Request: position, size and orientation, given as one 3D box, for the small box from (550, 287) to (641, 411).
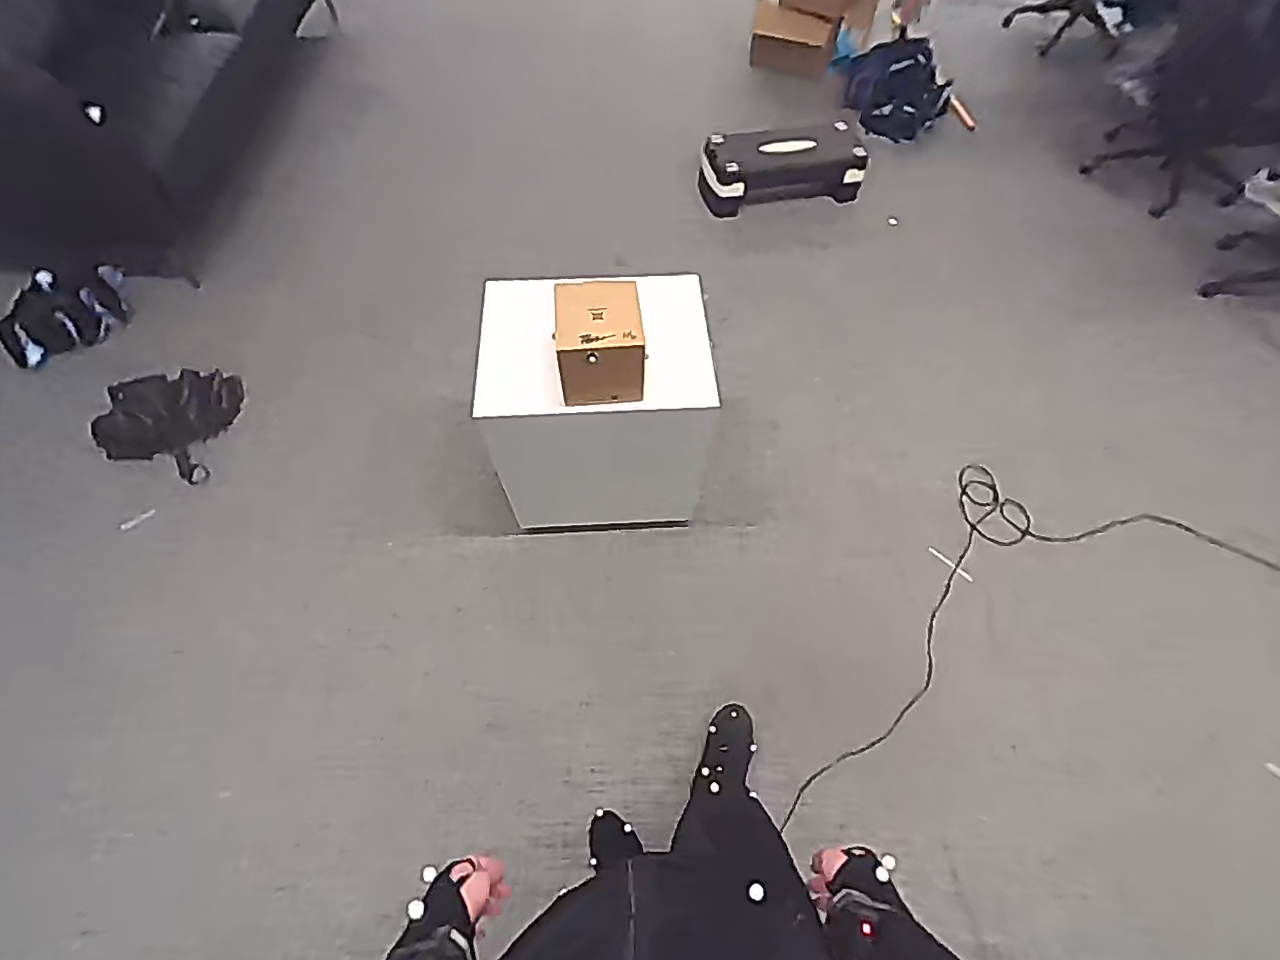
[{"bbox_3d":[-0.090,-0.262,1.091,0.168,0.176,0.179,-5,59,-4],"label":"small box"}]
